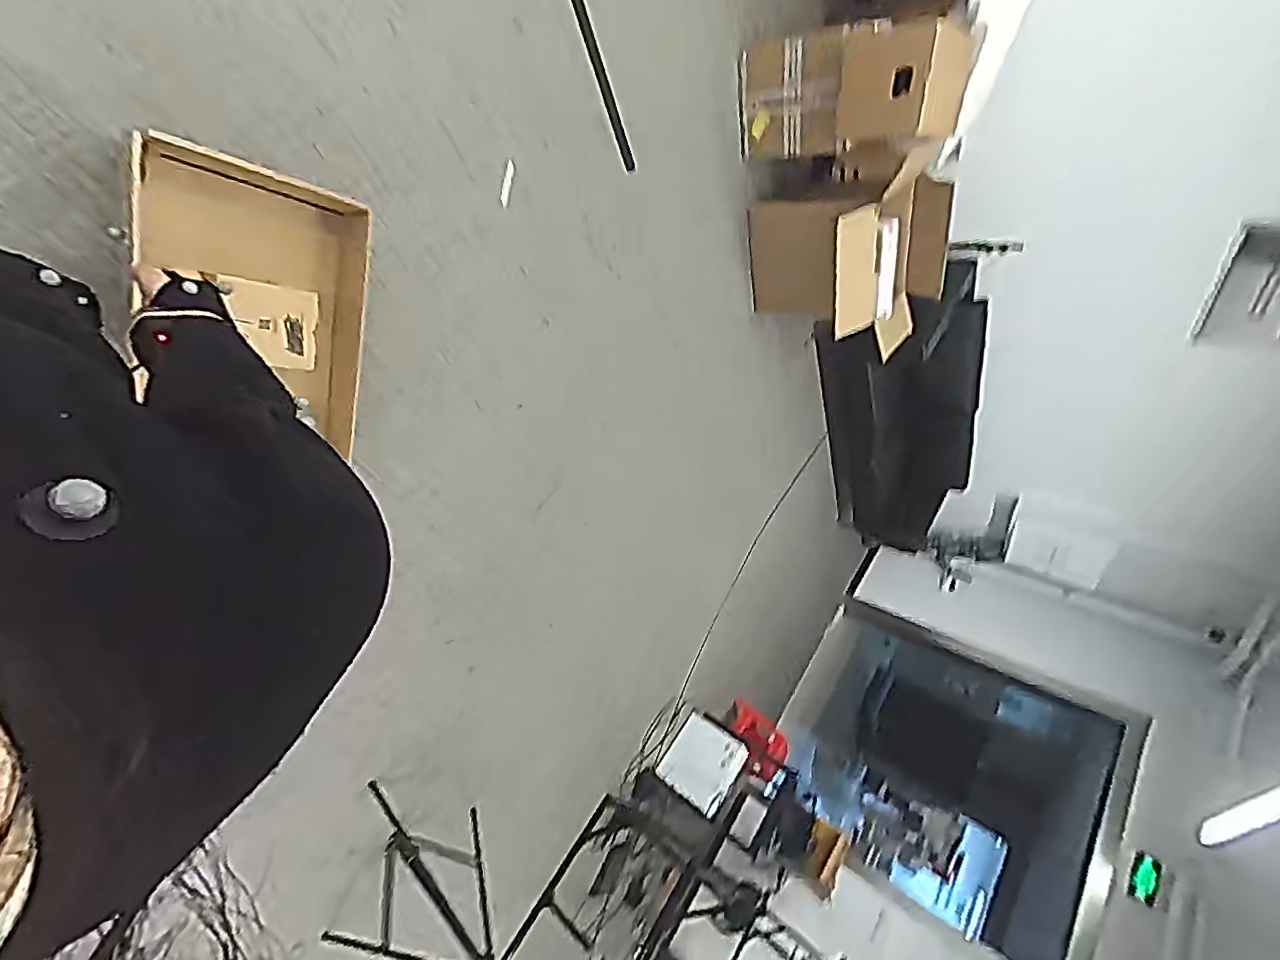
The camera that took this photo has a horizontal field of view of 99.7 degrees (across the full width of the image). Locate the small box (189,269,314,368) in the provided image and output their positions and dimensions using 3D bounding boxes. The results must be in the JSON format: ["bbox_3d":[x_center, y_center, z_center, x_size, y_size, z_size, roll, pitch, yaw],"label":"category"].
[{"bbox_3d":[-0.826,-0.343,1.151,0.179,0.176,0.168,-3,109,-50],"label":"small box"}]
